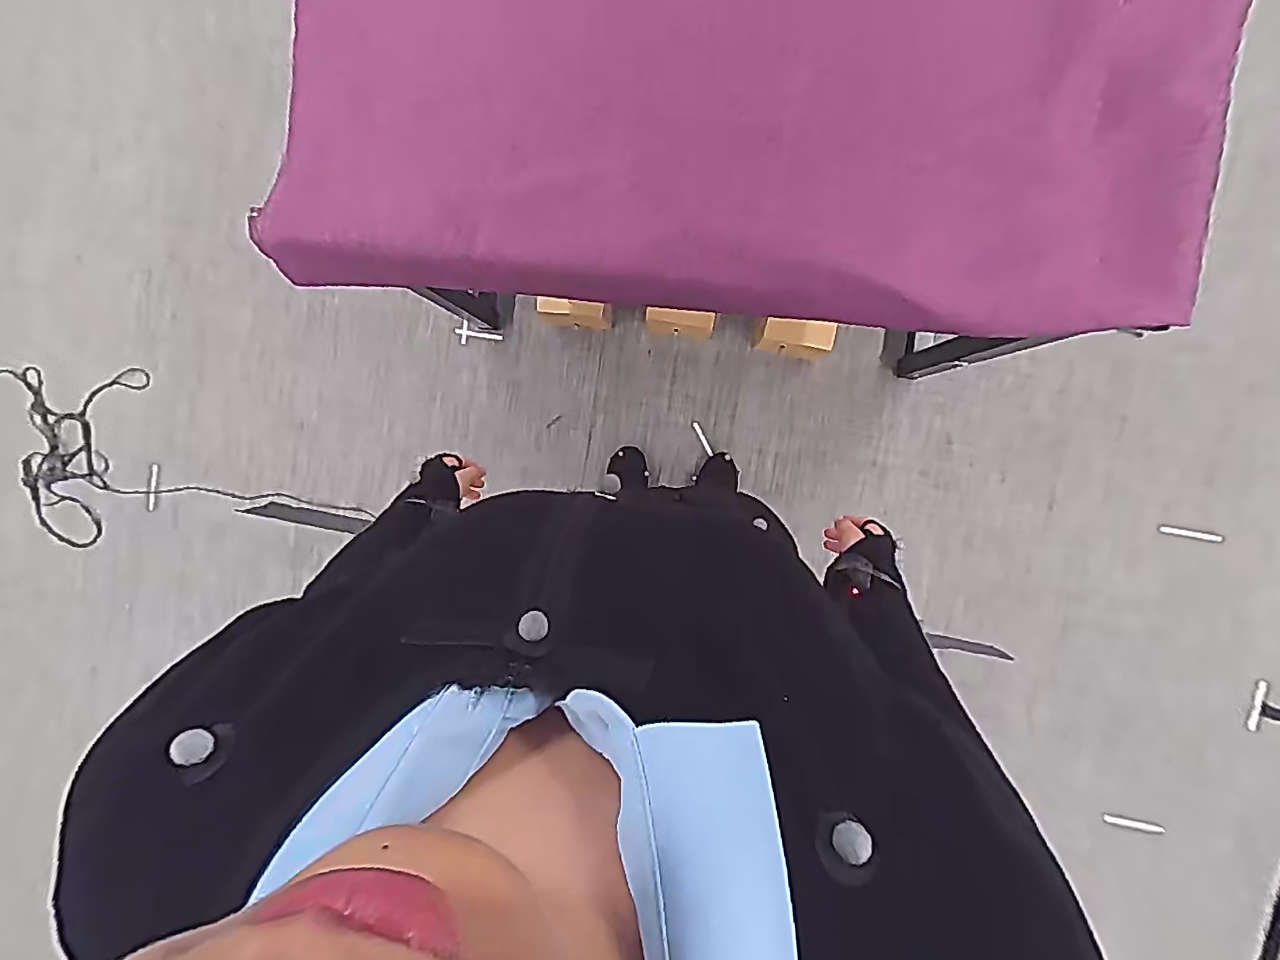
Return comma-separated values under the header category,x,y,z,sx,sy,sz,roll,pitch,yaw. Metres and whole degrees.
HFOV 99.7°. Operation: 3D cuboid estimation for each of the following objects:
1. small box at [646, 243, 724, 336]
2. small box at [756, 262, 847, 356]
category,x,y,z,sx,sy,sz,roll,pitch,yaw
small box,0.113,-0.475,1.373,0.168,0.176,0.179,10,94,3
small box,0.397,-0.420,1.360,0.168,0.176,0.179,13,94,3
